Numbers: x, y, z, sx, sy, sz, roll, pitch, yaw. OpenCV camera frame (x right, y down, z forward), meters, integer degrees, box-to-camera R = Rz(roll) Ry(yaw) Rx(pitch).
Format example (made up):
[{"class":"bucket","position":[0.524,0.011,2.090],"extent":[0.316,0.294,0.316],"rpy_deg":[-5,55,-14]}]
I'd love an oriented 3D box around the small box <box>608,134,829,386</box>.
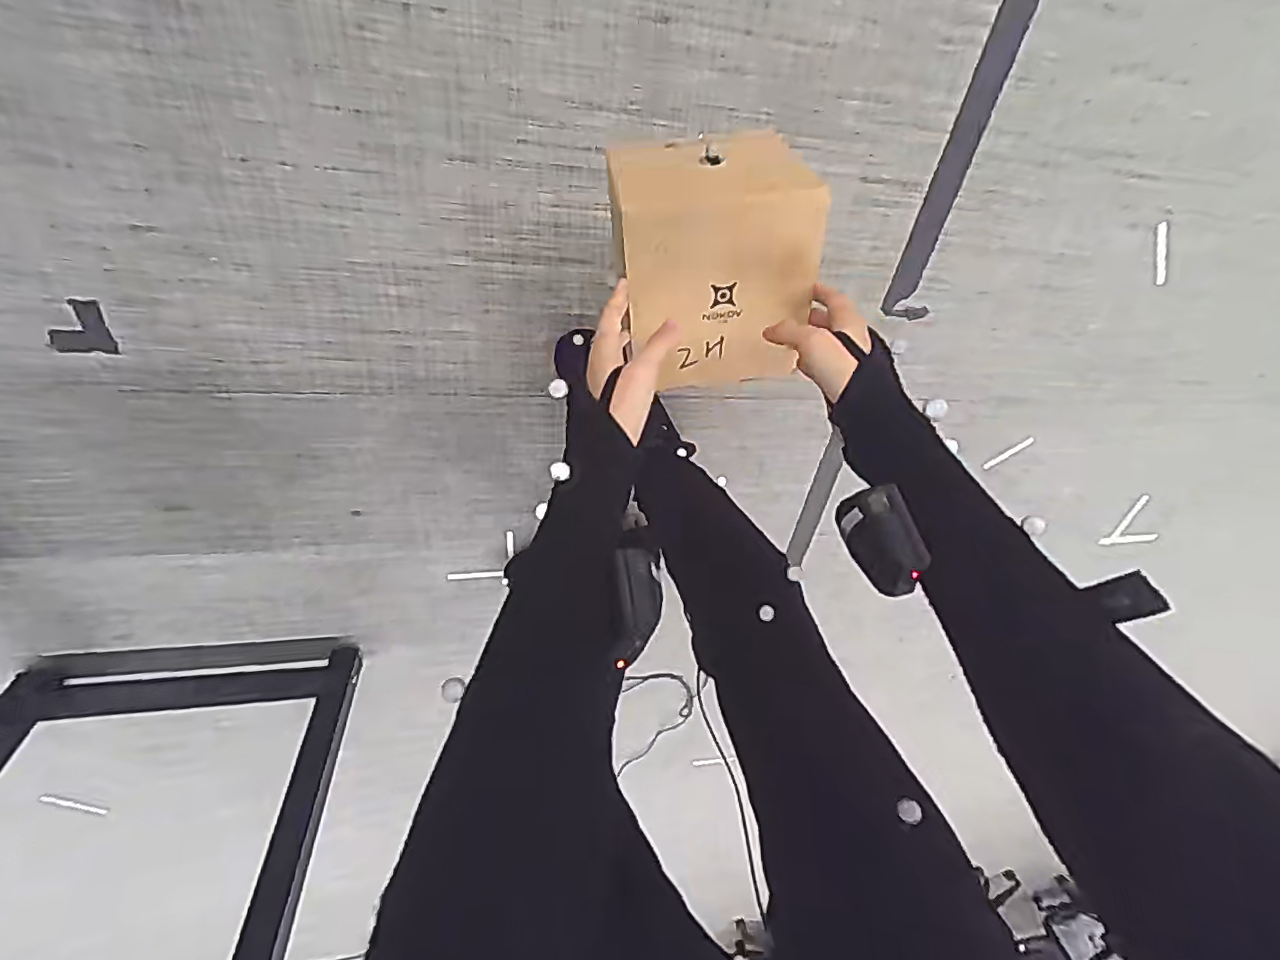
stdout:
[{"class":"small box","position":[0.061,-0.218,0.528],"extent":[0.168,0.176,0.179],"rpy_deg":[-7,137,-2]}]
